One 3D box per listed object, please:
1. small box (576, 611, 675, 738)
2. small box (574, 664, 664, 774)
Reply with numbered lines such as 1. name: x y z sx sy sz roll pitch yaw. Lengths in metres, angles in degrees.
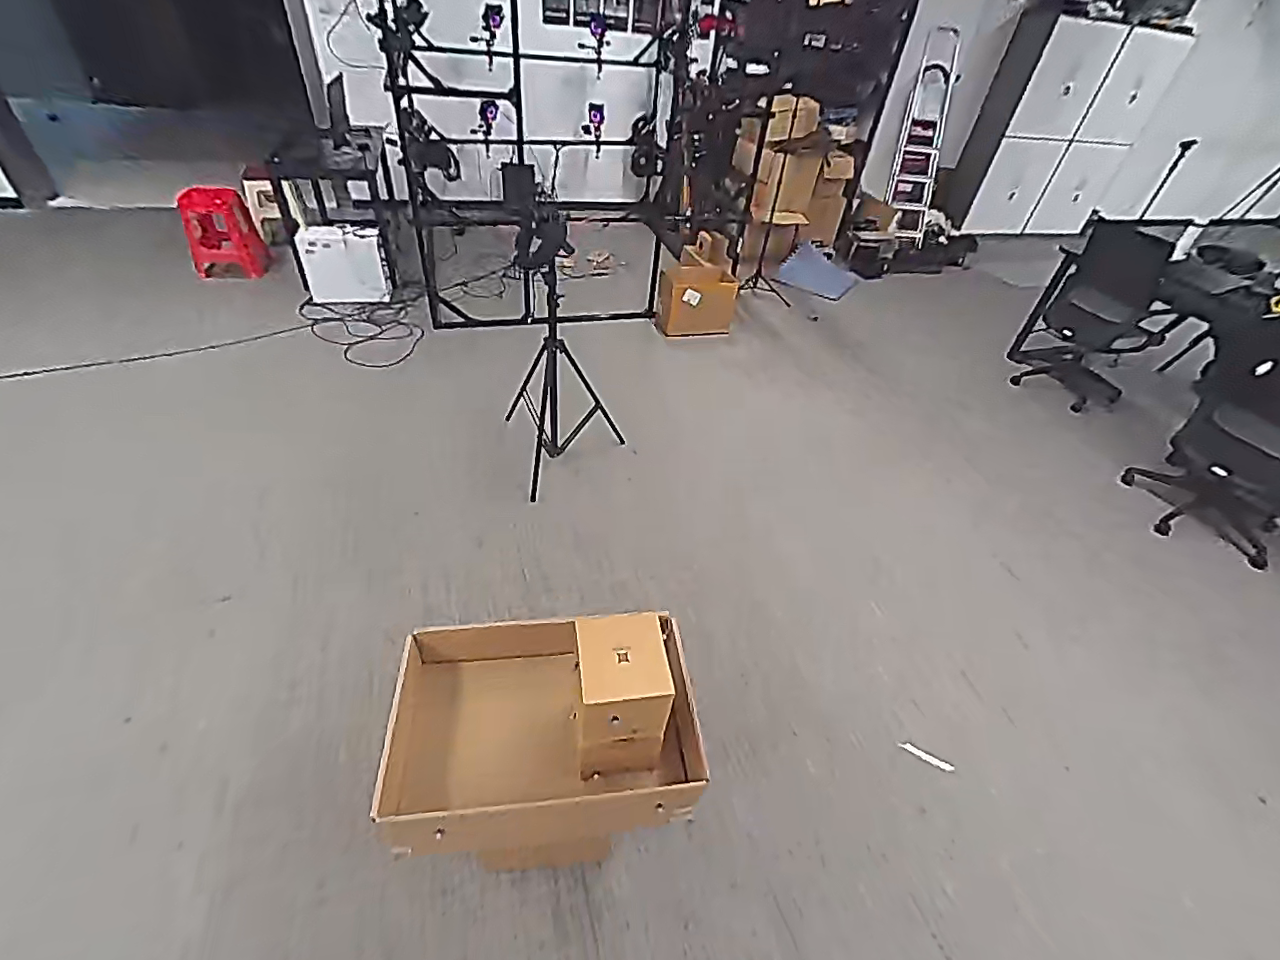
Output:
1. small box: -0.036 0.380 1.047 0.168 0.176 0.179 -3 41 -11
2. small box: -0.051 0.503 1.152 0.168 0.176 0.179 -3 41 -11
